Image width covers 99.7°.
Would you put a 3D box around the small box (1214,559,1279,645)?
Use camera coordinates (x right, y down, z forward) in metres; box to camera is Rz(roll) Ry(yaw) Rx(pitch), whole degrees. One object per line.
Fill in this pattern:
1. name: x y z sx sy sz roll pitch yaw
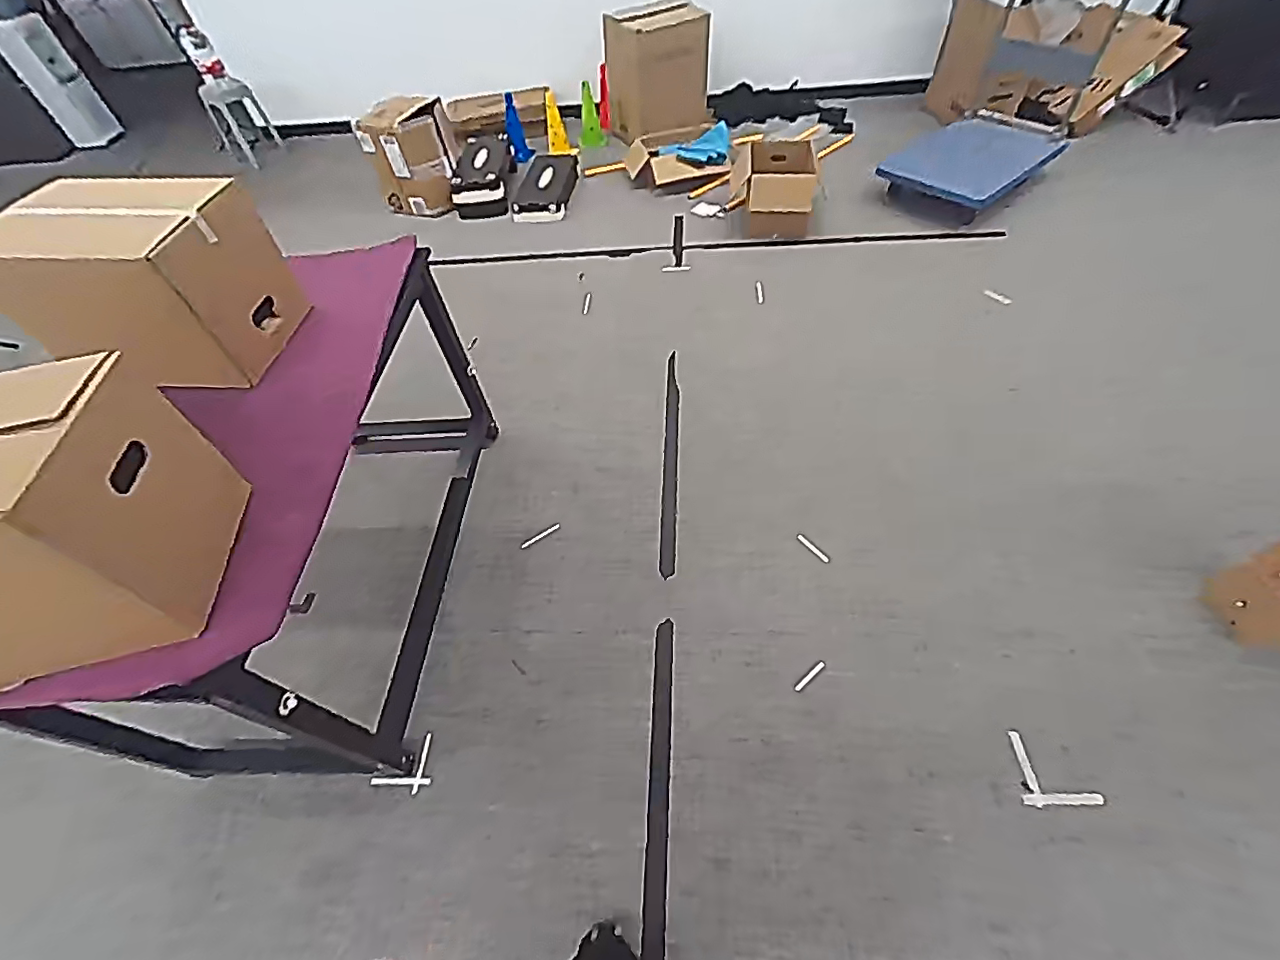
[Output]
1. small box: 1.629 0.307 1.364 0.179 0.176 0.168 -4 52 2

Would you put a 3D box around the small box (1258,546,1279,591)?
1. small box: 1.617 0.206 1.236 0.179 0.176 0.168 -4 52 4
